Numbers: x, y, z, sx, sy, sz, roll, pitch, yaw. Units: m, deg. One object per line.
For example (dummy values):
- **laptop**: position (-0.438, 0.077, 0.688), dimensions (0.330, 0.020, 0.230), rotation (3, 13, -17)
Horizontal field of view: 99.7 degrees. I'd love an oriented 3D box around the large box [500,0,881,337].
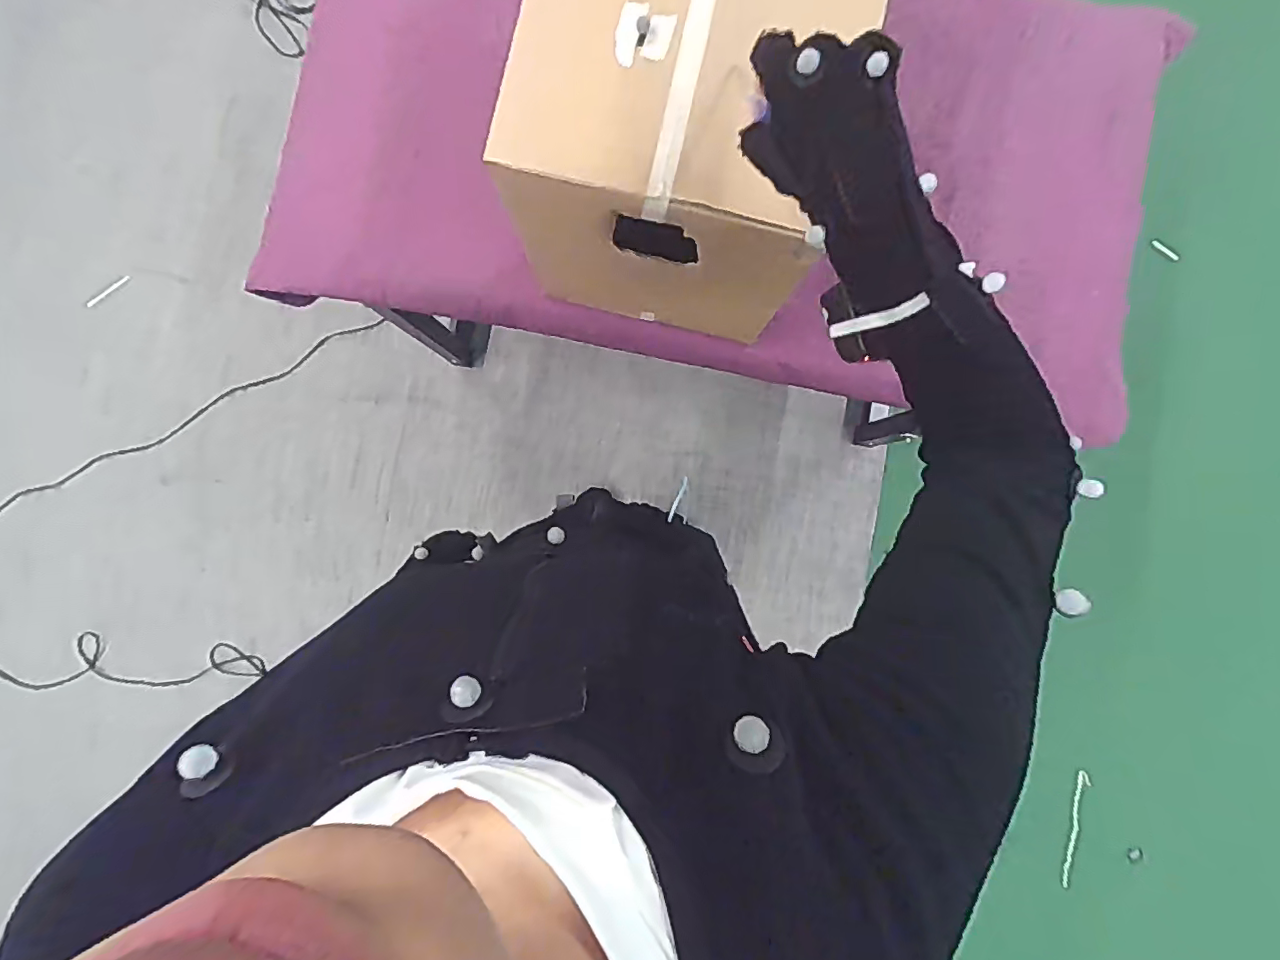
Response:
- **large box**: position (0.060, -0.435, 0.641), dimensions (0.320, 0.320, 0.408), rotation (14, 89, 0)
